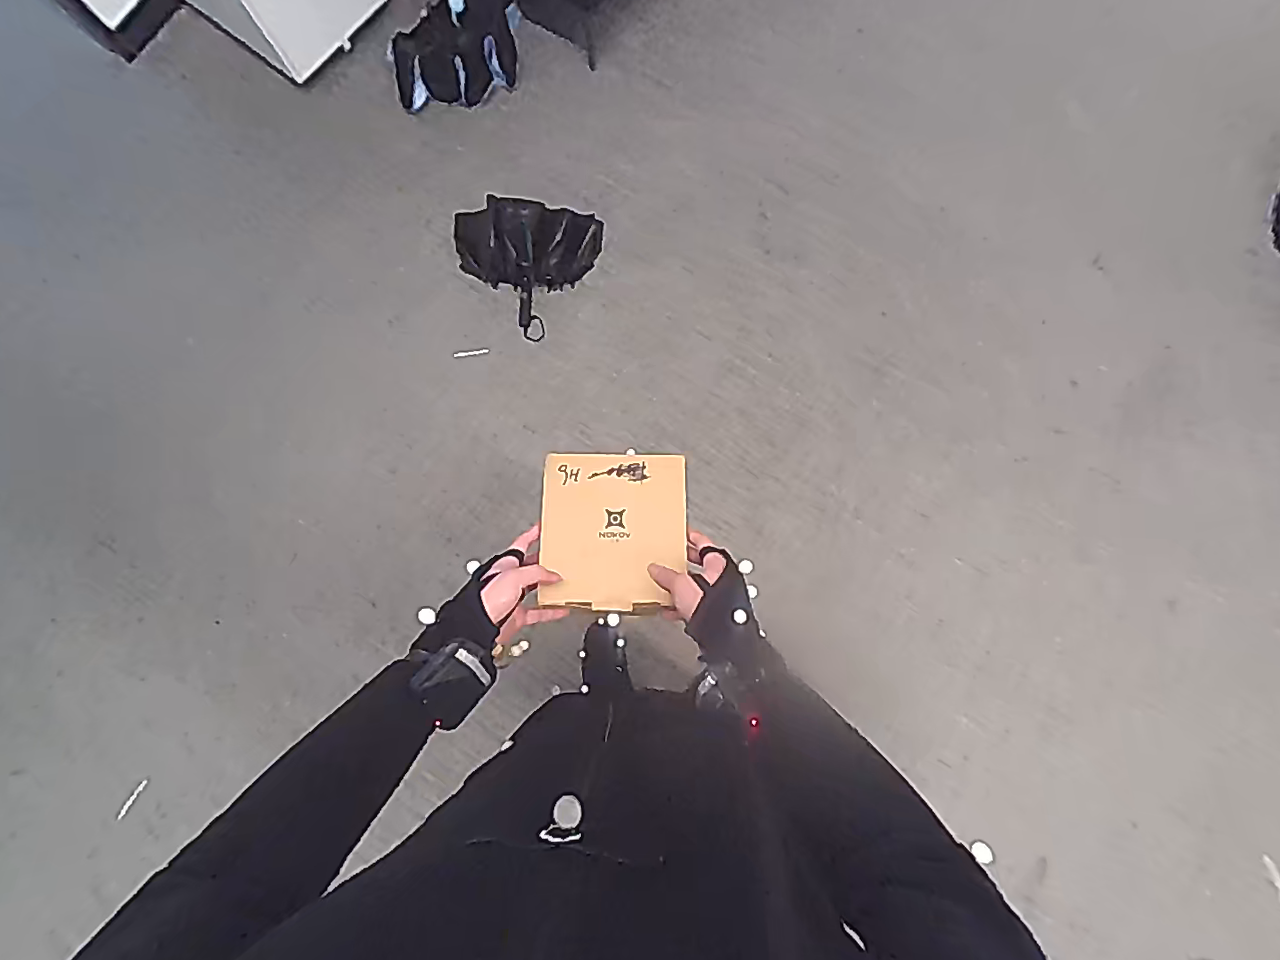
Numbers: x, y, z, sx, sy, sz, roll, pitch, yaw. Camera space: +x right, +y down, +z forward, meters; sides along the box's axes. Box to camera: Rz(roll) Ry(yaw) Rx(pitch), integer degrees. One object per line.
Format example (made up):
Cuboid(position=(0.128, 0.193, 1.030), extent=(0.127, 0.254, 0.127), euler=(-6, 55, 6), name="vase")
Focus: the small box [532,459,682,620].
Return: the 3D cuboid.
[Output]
Cuboid(position=(-0.033, 0.083, 0.682), extent=(0.168, 0.176, 0.179), euler=(1, 72, 0), name="small box")
